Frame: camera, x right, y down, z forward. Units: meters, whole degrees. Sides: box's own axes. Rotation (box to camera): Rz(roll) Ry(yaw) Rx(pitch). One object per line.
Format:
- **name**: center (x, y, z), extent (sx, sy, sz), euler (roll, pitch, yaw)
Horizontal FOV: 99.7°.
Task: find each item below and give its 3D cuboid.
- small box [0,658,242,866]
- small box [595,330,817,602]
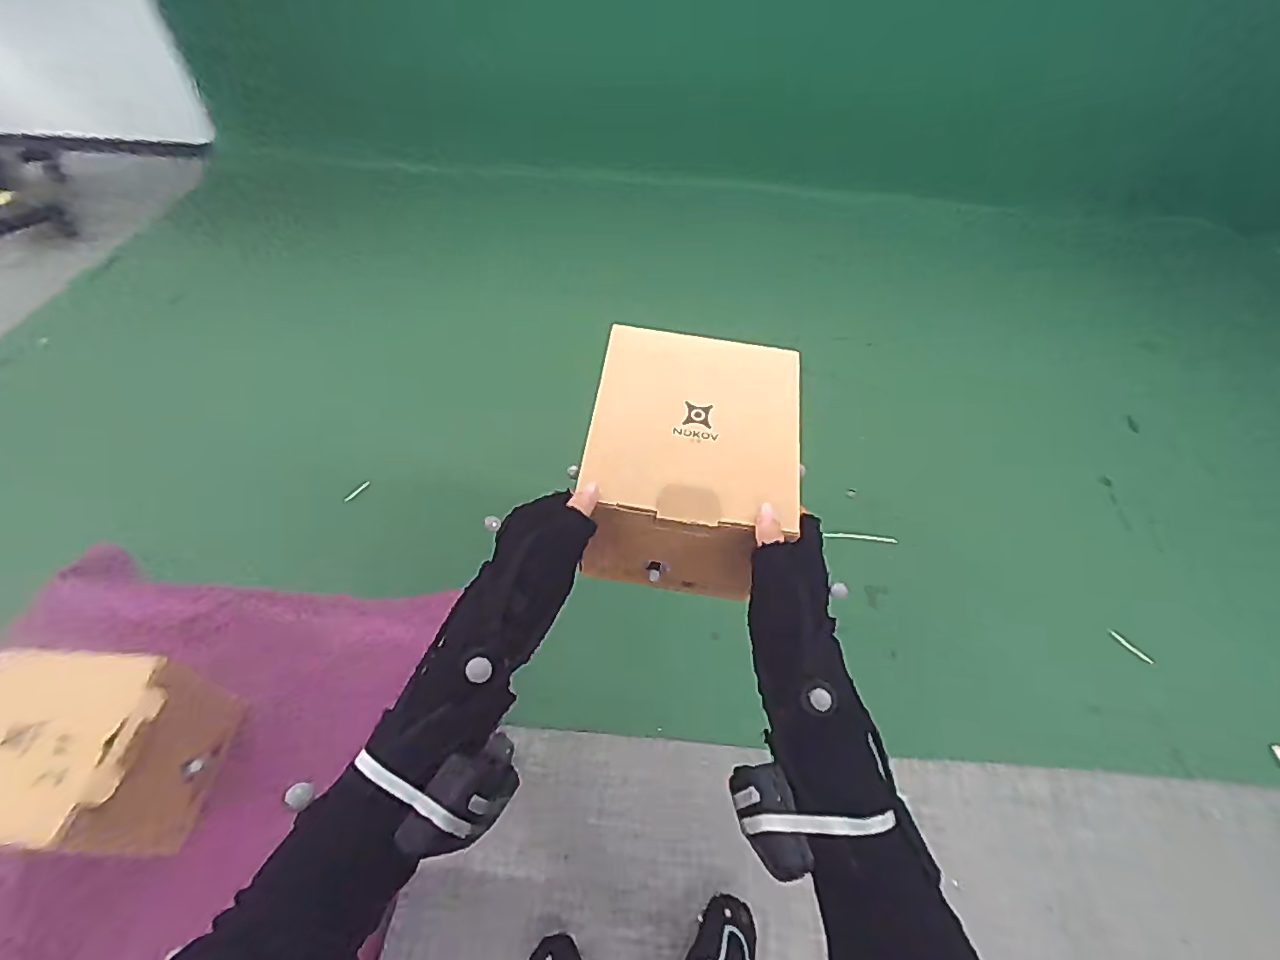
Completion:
- **small box**: center (-0.587, 0.303, 0.575), extent (0.179, 0.176, 0.168), euler (3, 52, 0)
- **small box**: center (0.052, -0.004, 0.497), extent (0.168, 0.176, 0.179), euler (10, 63, 0)
